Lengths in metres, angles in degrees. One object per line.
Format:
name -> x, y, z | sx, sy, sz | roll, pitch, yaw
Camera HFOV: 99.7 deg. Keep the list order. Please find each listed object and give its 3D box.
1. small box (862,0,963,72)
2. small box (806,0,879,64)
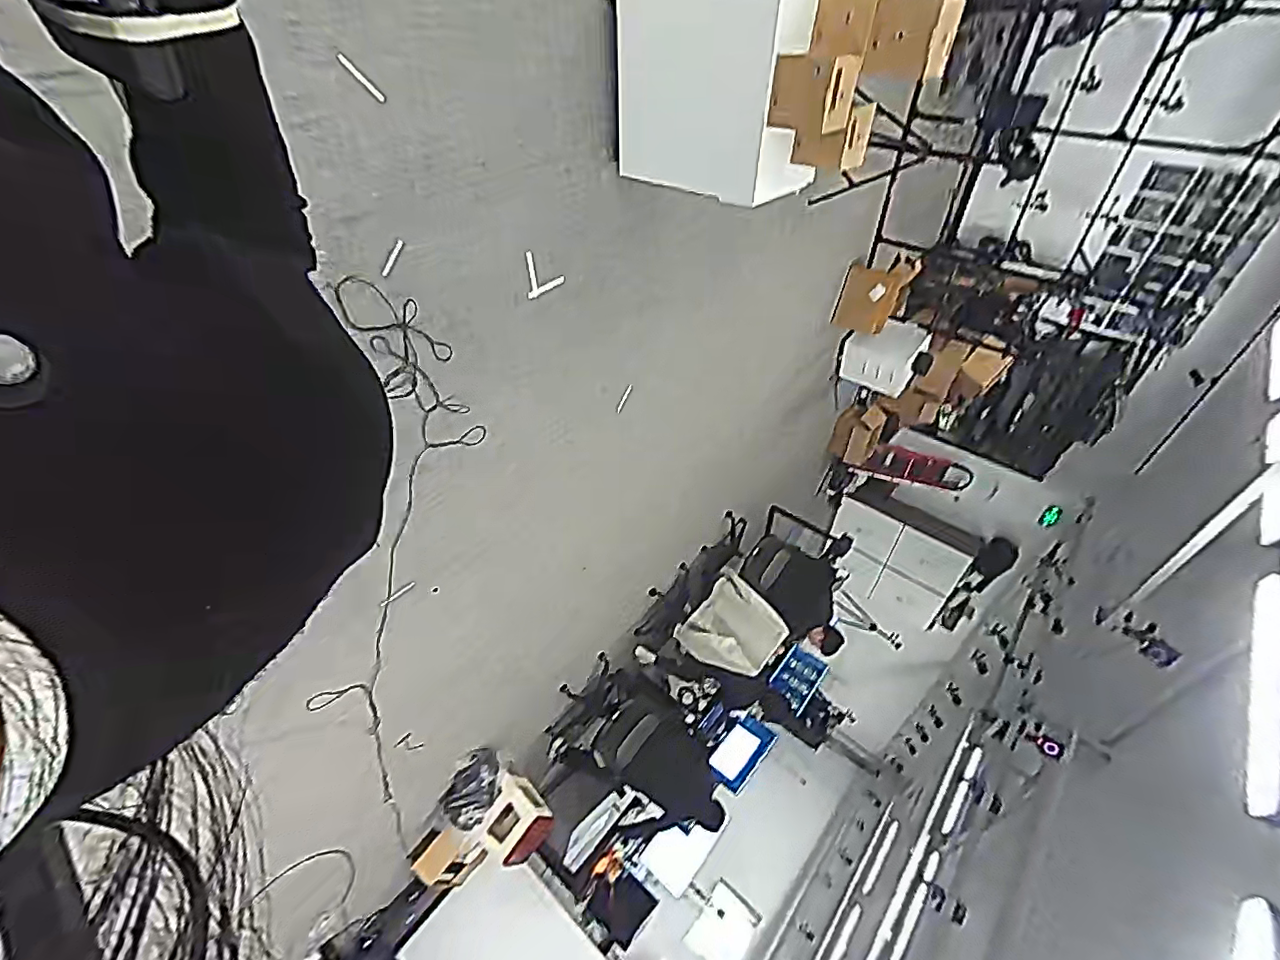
small box -> 0.717, -1.189, 1.433 | 0.179, 0.176, 0.168 | -36, 144, -36
small box -> 0.587, -1.263, 1.502 | 0.179, 0.176, 0.168 | -36, 144, -37
